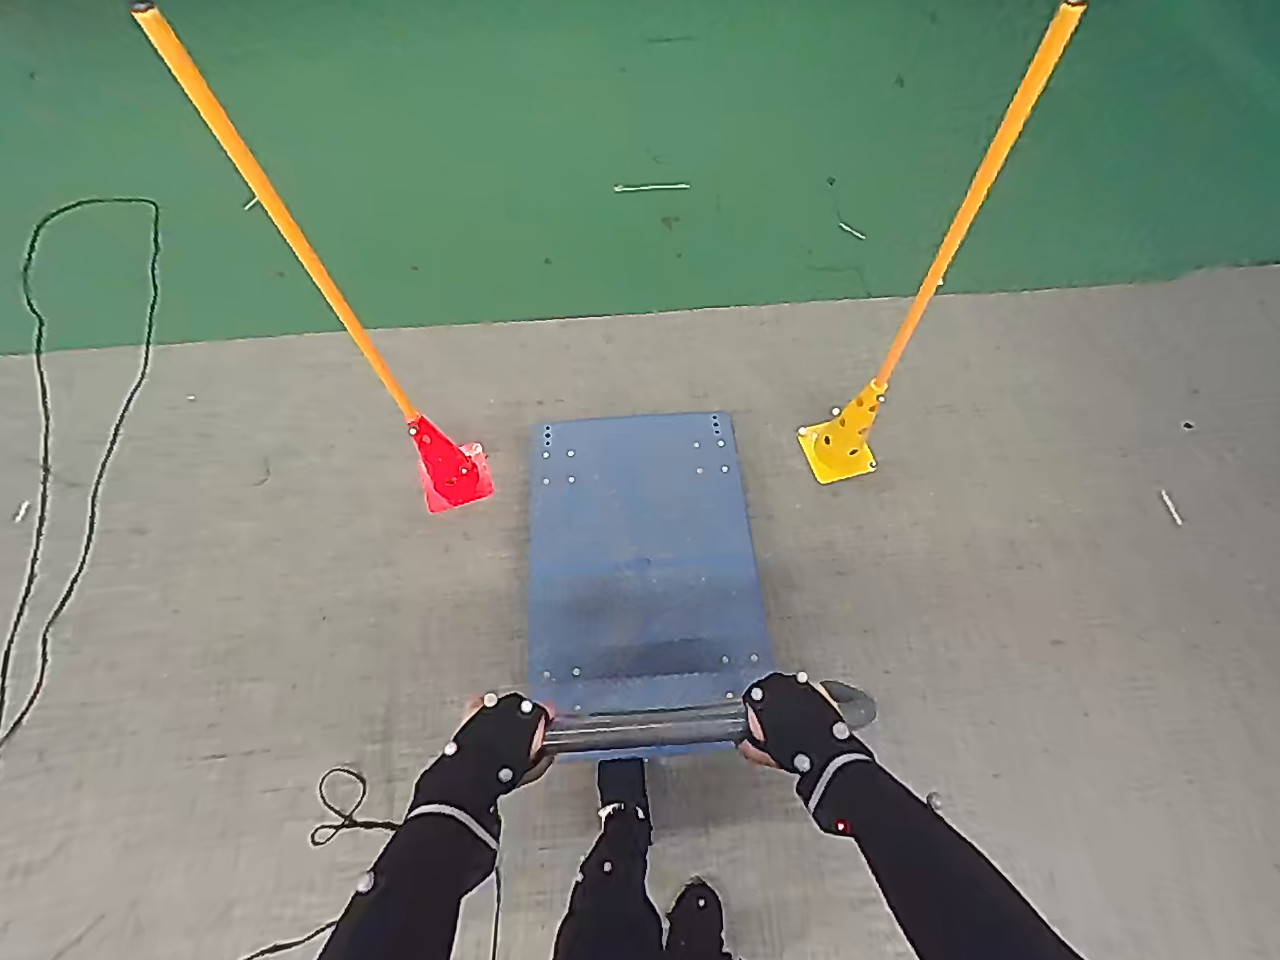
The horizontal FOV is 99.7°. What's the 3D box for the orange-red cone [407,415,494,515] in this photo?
[{"bbox_3d":[-0.562,-0.072,1.505,0.199,0.360,0.198,-18,66,-6],"label":"orange-red cone"}]
